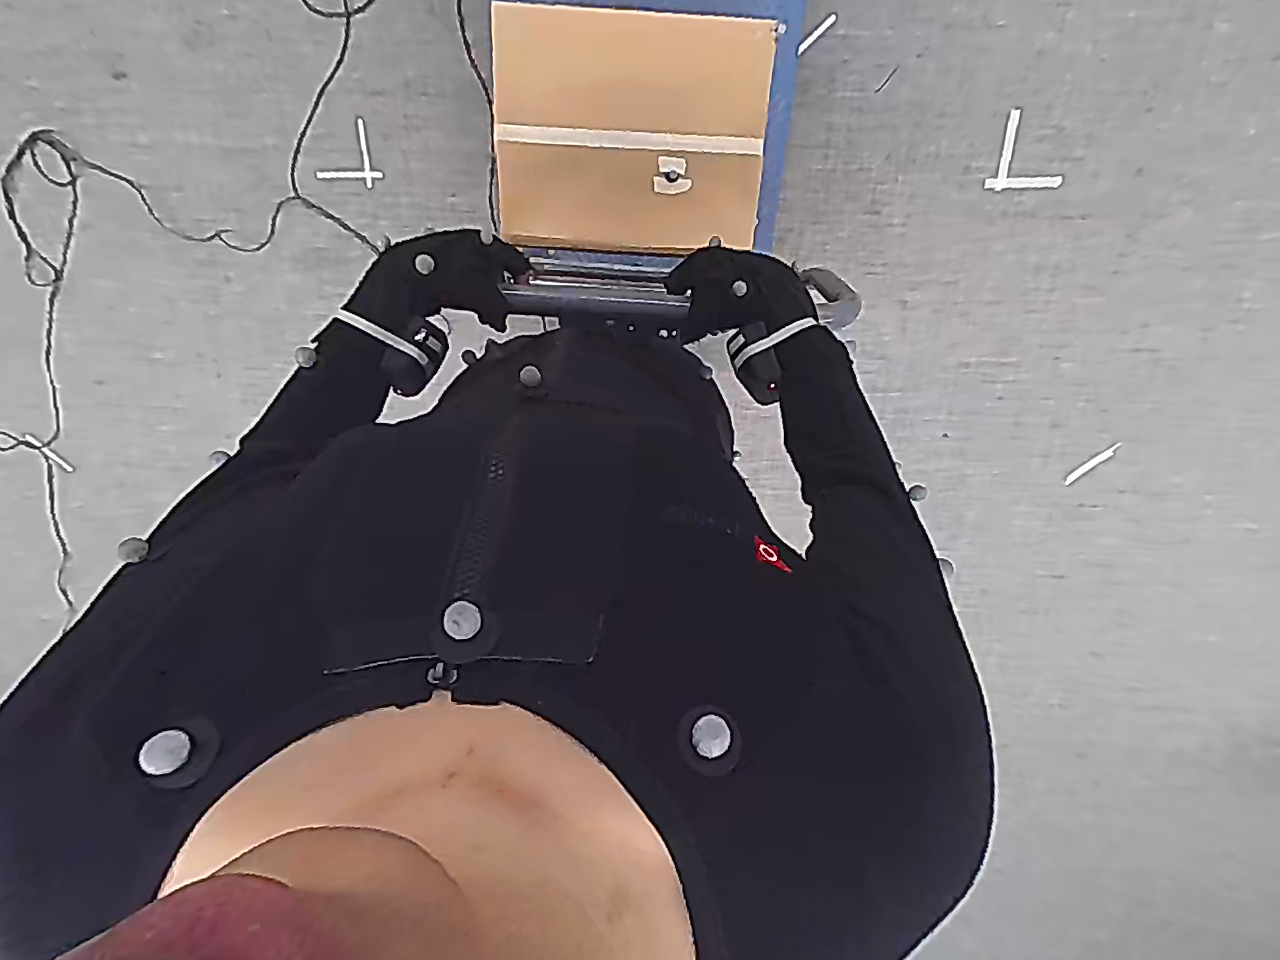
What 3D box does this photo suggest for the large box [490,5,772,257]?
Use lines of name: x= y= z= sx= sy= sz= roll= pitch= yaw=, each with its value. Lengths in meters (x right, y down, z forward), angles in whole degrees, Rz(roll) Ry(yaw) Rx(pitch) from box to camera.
large box: x=-0.020 y=-0.565 z=0.947 sx=0.408 sy=0.320 sz=0.320 roll=2 pitch=113 yaw=-2
